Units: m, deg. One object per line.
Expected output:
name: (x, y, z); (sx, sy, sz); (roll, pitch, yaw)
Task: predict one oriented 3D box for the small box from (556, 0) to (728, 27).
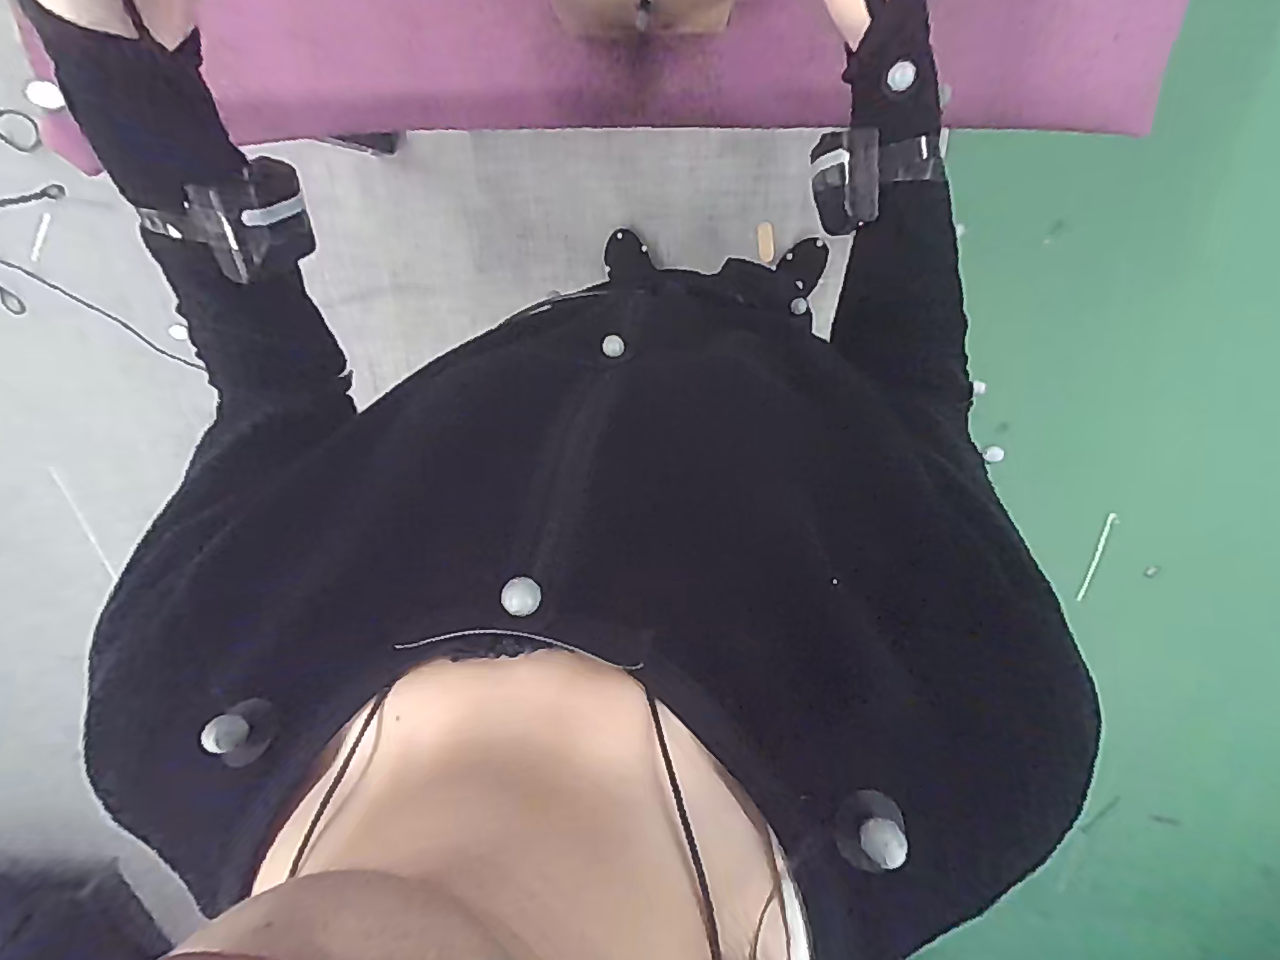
small box: (0.001, -0.507, 0.449); (0.168, 0.176, 0.179); (0, 114, 2)
